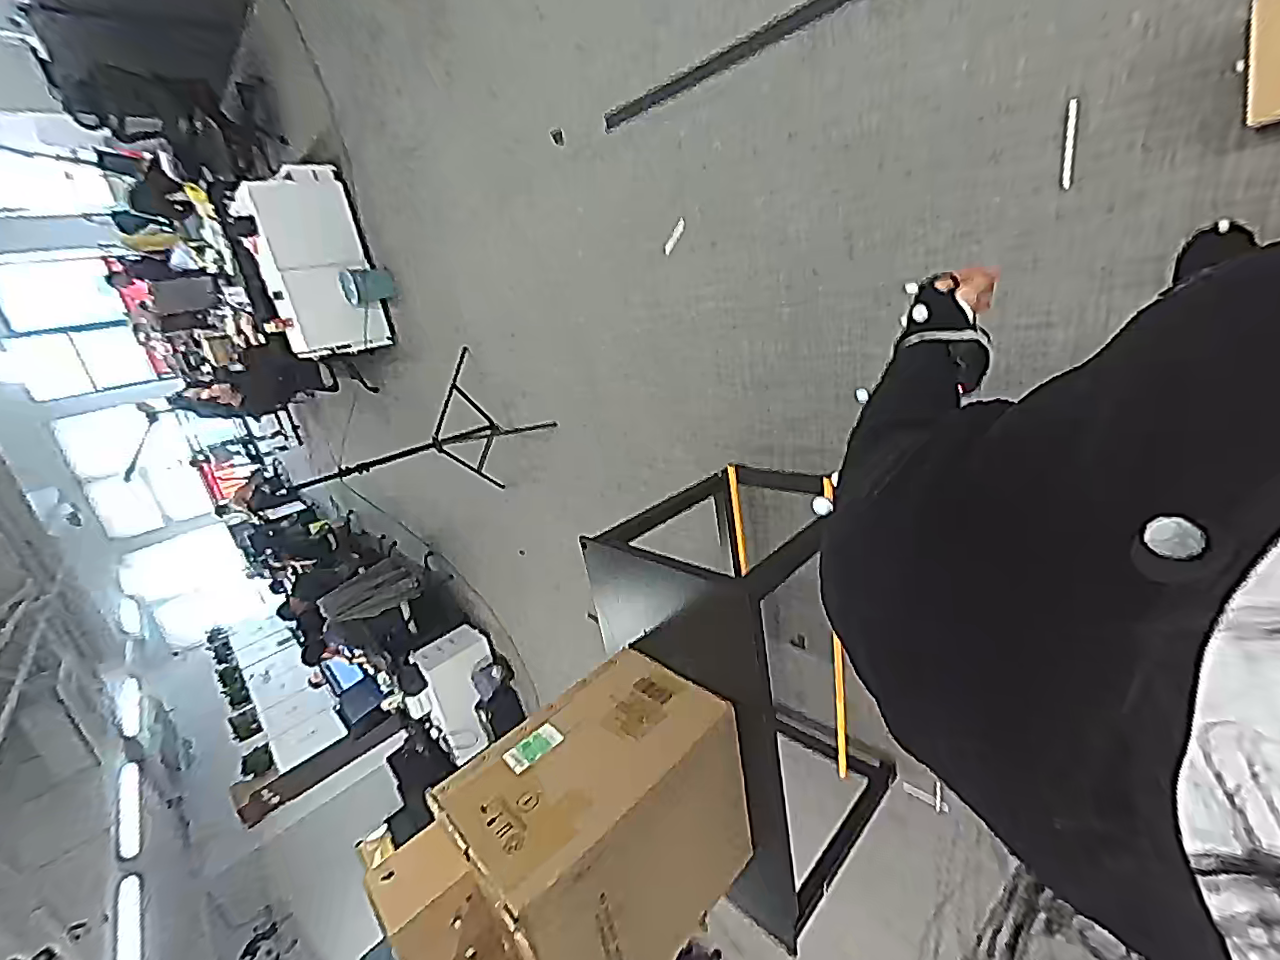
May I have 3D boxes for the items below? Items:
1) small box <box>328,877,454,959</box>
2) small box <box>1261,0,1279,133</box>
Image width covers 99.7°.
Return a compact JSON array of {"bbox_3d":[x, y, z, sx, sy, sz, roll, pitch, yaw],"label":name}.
[{"bbox_3d":[-0.479,0.935,1.062,0.179,0.176,0.168,10,119,48],"label":"small box"},{"bbox_3d":[0.967,-0.596,0.729,0.168,0.176,0.179,2,114,50],"label":"small box"}]
